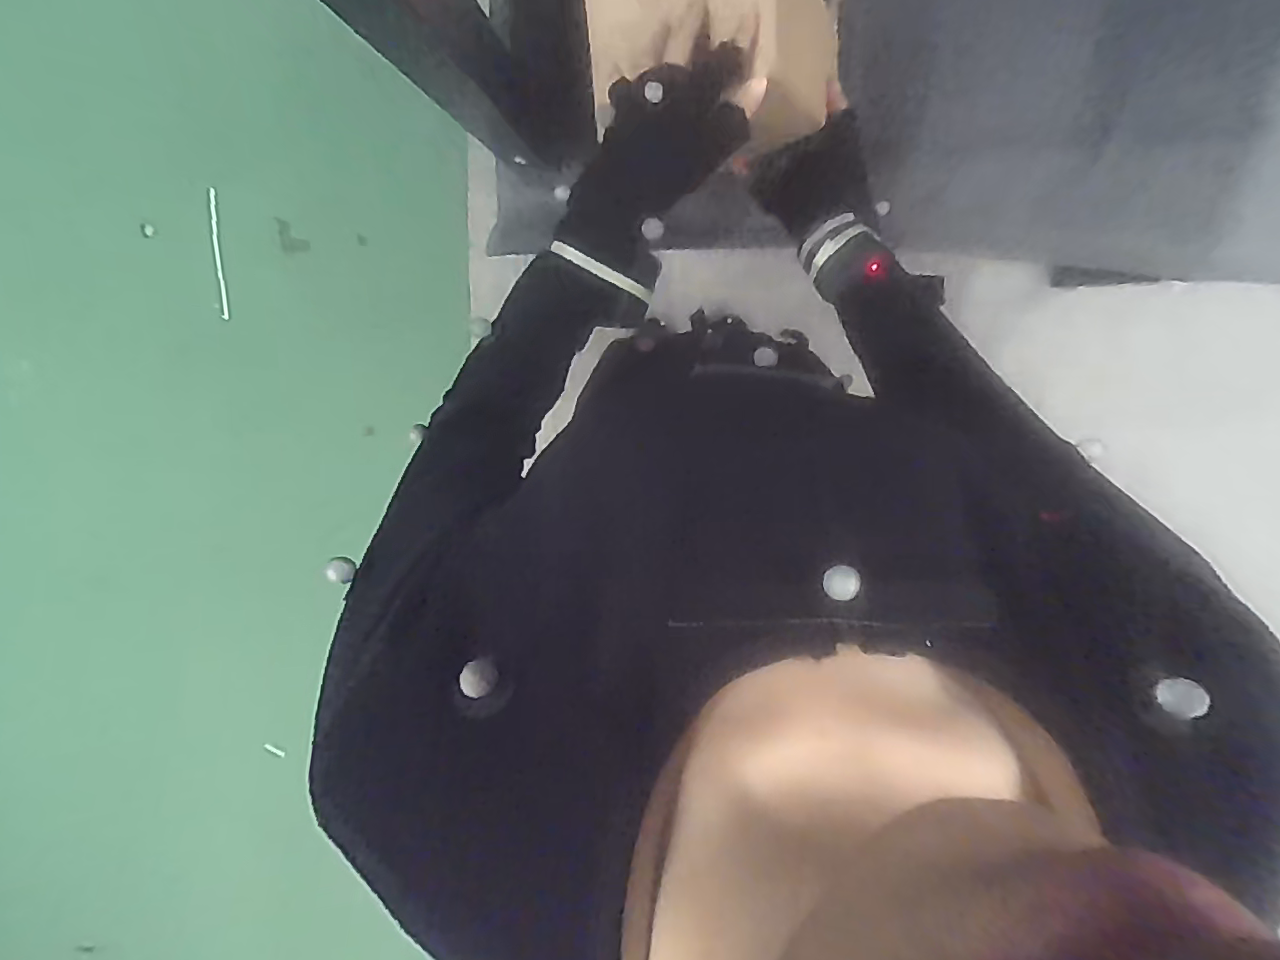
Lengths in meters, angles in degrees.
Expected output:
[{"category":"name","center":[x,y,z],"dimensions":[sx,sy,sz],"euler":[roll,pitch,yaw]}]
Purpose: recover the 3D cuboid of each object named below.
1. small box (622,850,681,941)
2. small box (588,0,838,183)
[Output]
[{"category":"small box","center":[0.039,1.418,1.853],"dimensions":[0.168,0.176,0.179],"euler":[13,108,0]},{"category":"small box","center":[0.068,-0.398,0.480],"dimensions":[0.168,0.176,0.179],"euler":[3,103,35]}]
